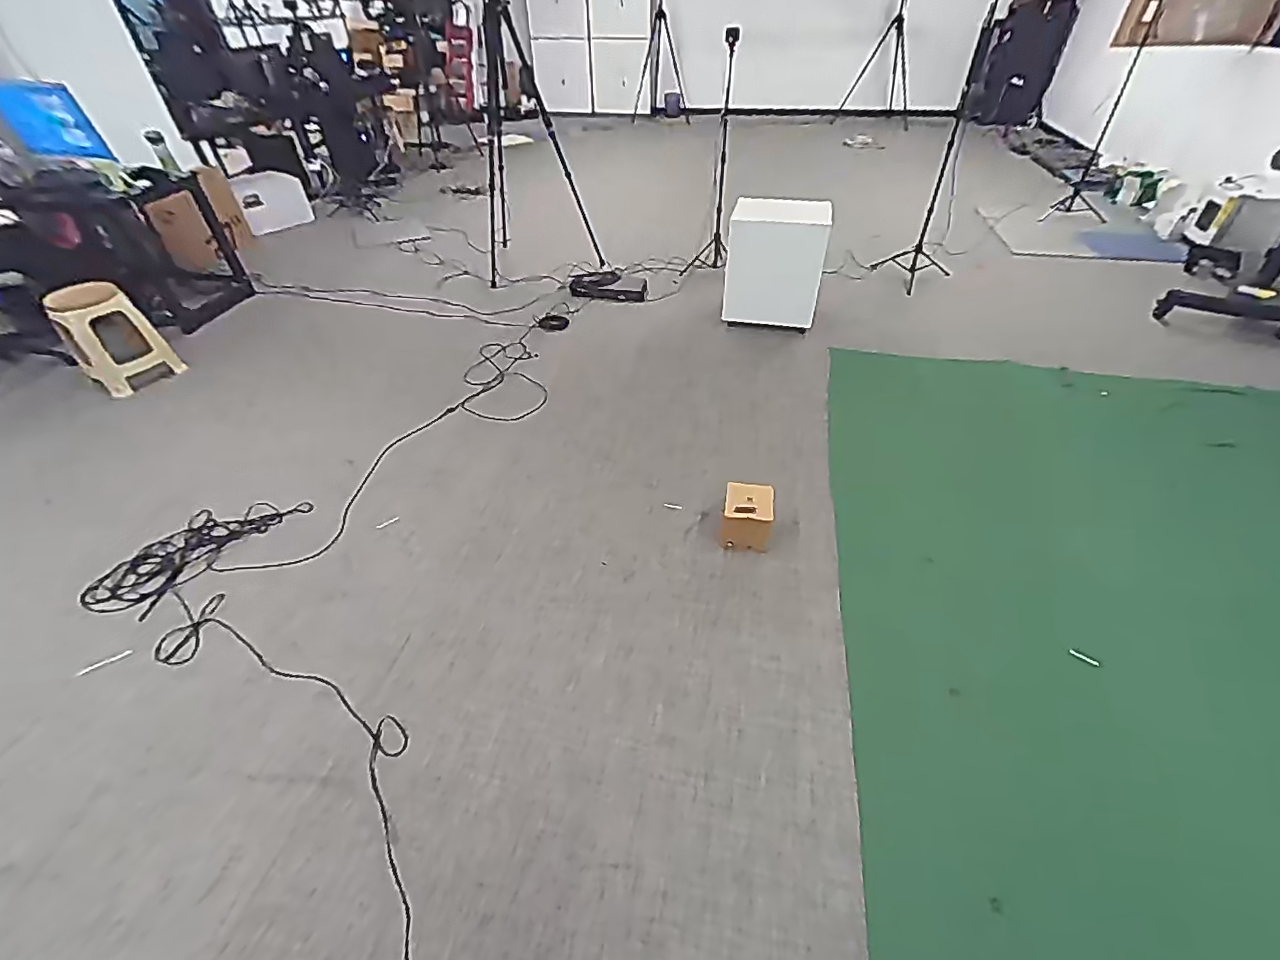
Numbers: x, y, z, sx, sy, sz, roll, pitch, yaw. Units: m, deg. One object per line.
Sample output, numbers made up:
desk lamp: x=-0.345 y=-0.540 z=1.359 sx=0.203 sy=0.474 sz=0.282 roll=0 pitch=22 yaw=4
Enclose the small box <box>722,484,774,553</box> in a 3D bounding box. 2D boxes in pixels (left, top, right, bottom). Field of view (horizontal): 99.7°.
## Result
small box: x=0.387 y=0.140 z=1.938 sx=0.168 sy=0.176 sz=0.179 roll=6 pitch=43 yaw=8
